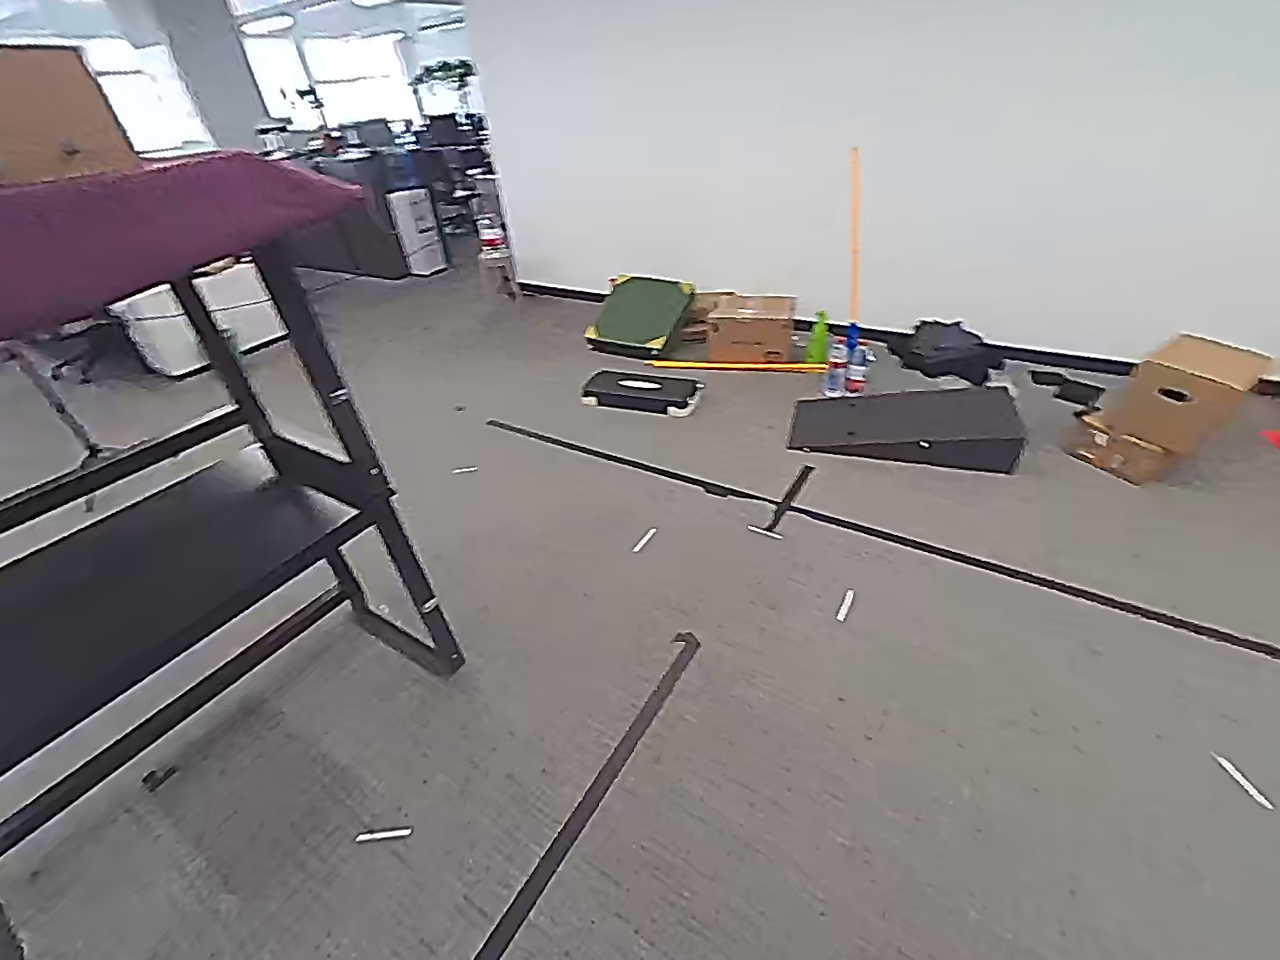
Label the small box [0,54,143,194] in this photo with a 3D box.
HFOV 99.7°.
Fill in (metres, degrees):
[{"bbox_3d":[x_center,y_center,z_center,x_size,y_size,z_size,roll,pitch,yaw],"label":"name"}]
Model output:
[{"bbox_3d":[-0.956,-0.566,0.865,0.168,0.176,0.179,16,41,28],"label":"small box"}]
